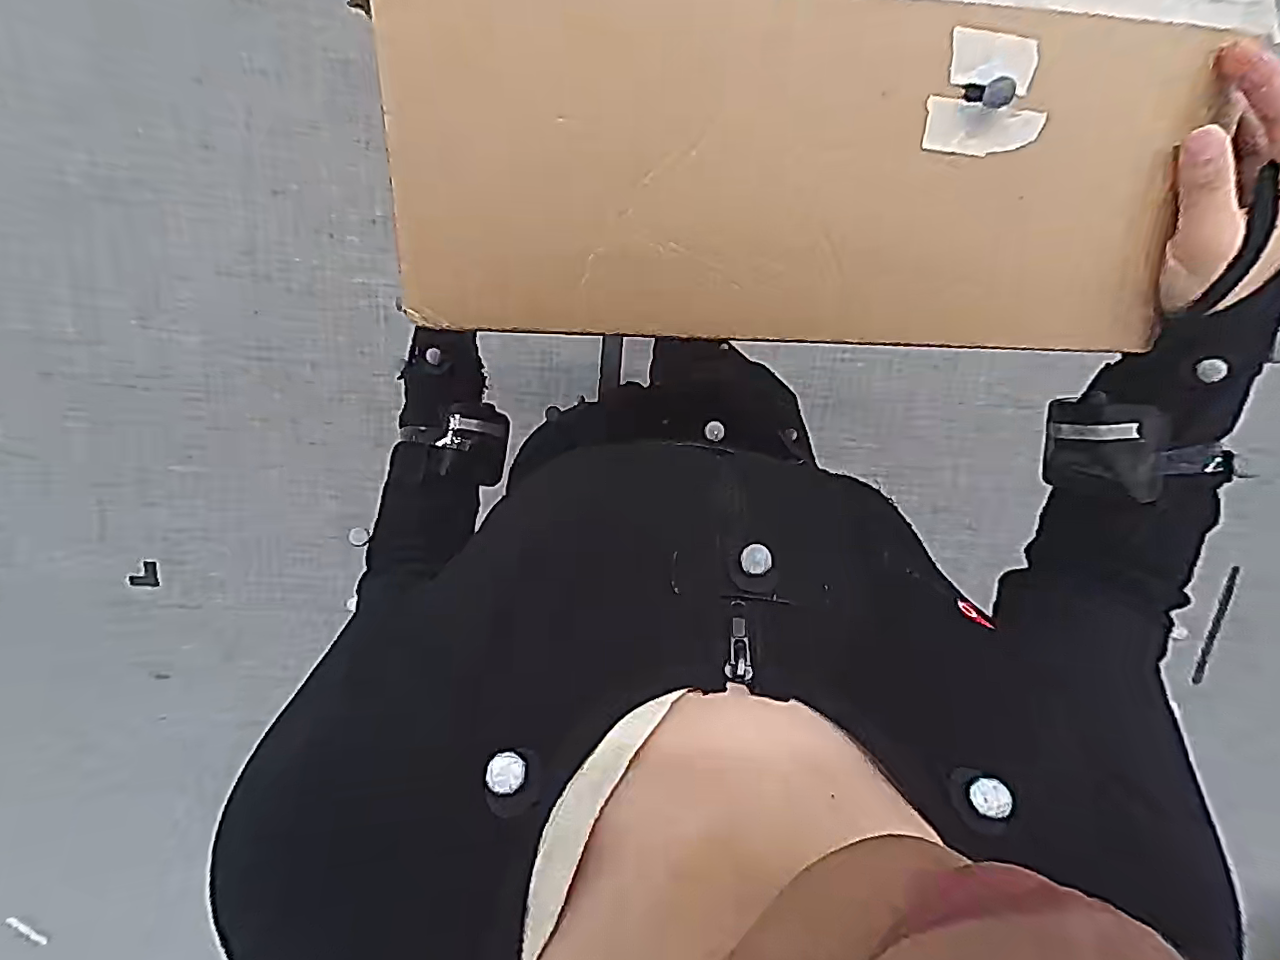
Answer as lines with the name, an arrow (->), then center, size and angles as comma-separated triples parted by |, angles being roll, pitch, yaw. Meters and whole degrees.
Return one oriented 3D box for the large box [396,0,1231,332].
large box -> 0.072, -0.277, 0.382 | 0.408, 0.320, 0.320 | -1, 110, -8
